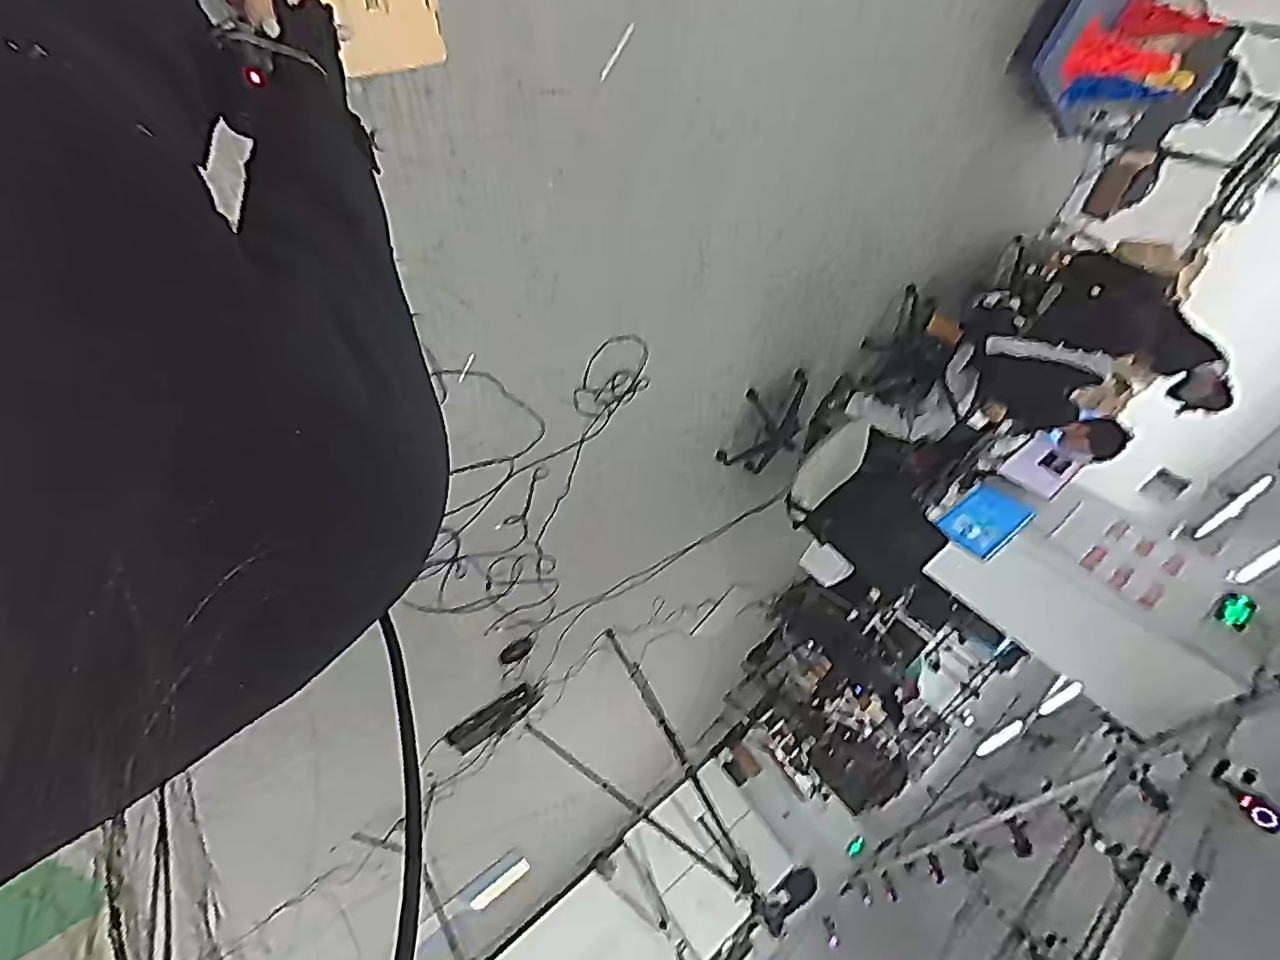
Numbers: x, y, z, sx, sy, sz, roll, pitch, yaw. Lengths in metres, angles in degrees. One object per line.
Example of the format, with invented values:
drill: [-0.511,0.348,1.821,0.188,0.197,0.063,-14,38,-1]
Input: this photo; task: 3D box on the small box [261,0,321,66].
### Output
small box: [-0.527,-0.811,0.886,0.168,0.176,0.179,-31,145,-22]

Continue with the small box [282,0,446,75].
small box: [-0.422,-0.725,0.794,0.179,0.176,0.168,-31,144,-22]
